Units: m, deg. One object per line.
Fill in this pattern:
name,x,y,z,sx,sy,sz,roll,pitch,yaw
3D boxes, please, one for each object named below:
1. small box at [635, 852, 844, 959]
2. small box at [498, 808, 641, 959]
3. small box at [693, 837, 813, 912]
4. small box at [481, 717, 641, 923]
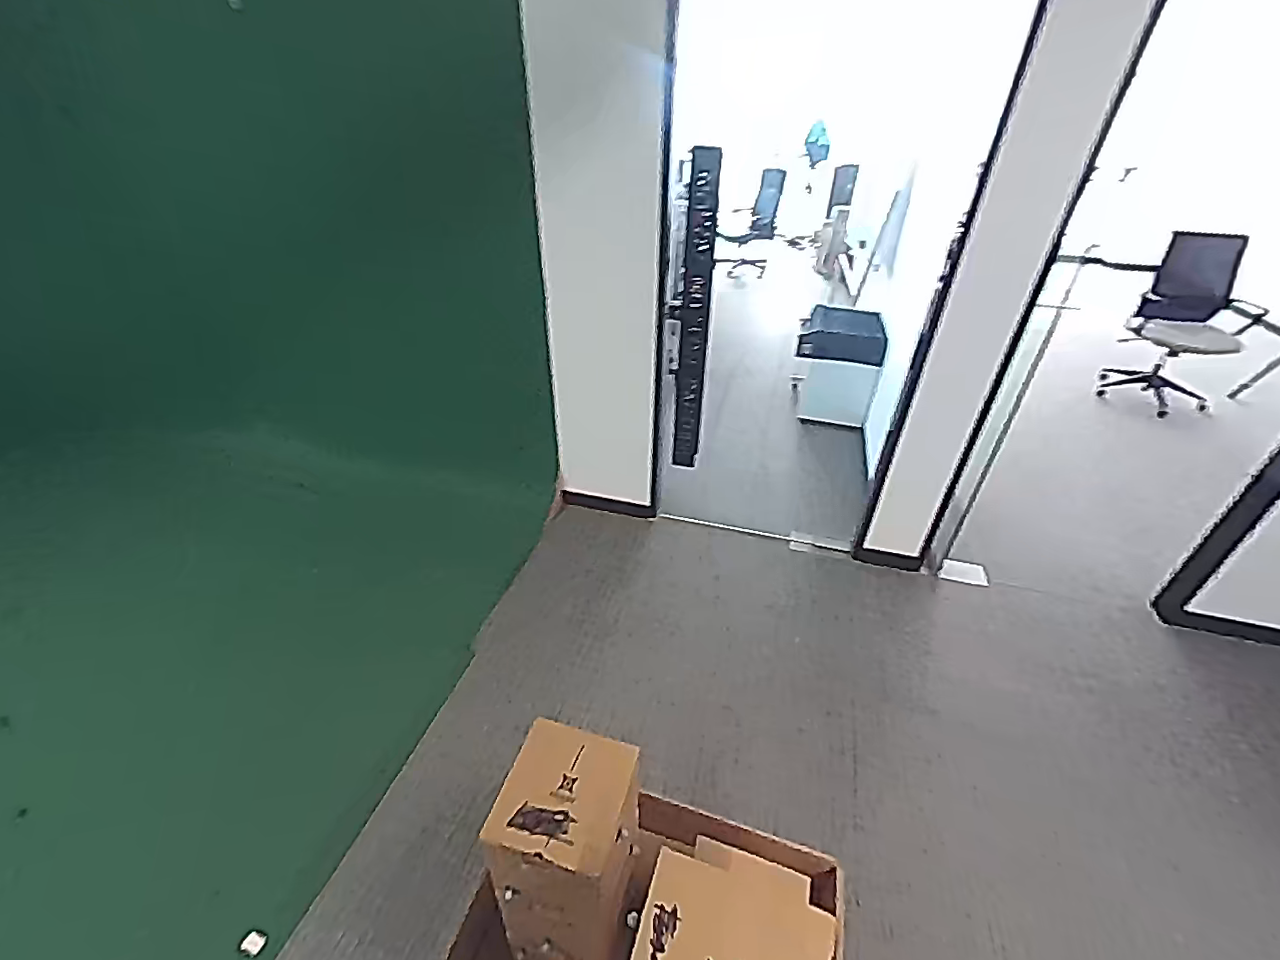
small box,0.081,0.503,0.523,0.179,0.176,0.168,13,45,15
small box,-0.105,0.622,0.859,0.168,0.176,0.179,12,36,14
small box,0.143,0.678,0.799,0.179,0.176,0.168,14,38,14
small box,-0.101,0.483,0.771,0.168,0.176,0.179,12,35,12
